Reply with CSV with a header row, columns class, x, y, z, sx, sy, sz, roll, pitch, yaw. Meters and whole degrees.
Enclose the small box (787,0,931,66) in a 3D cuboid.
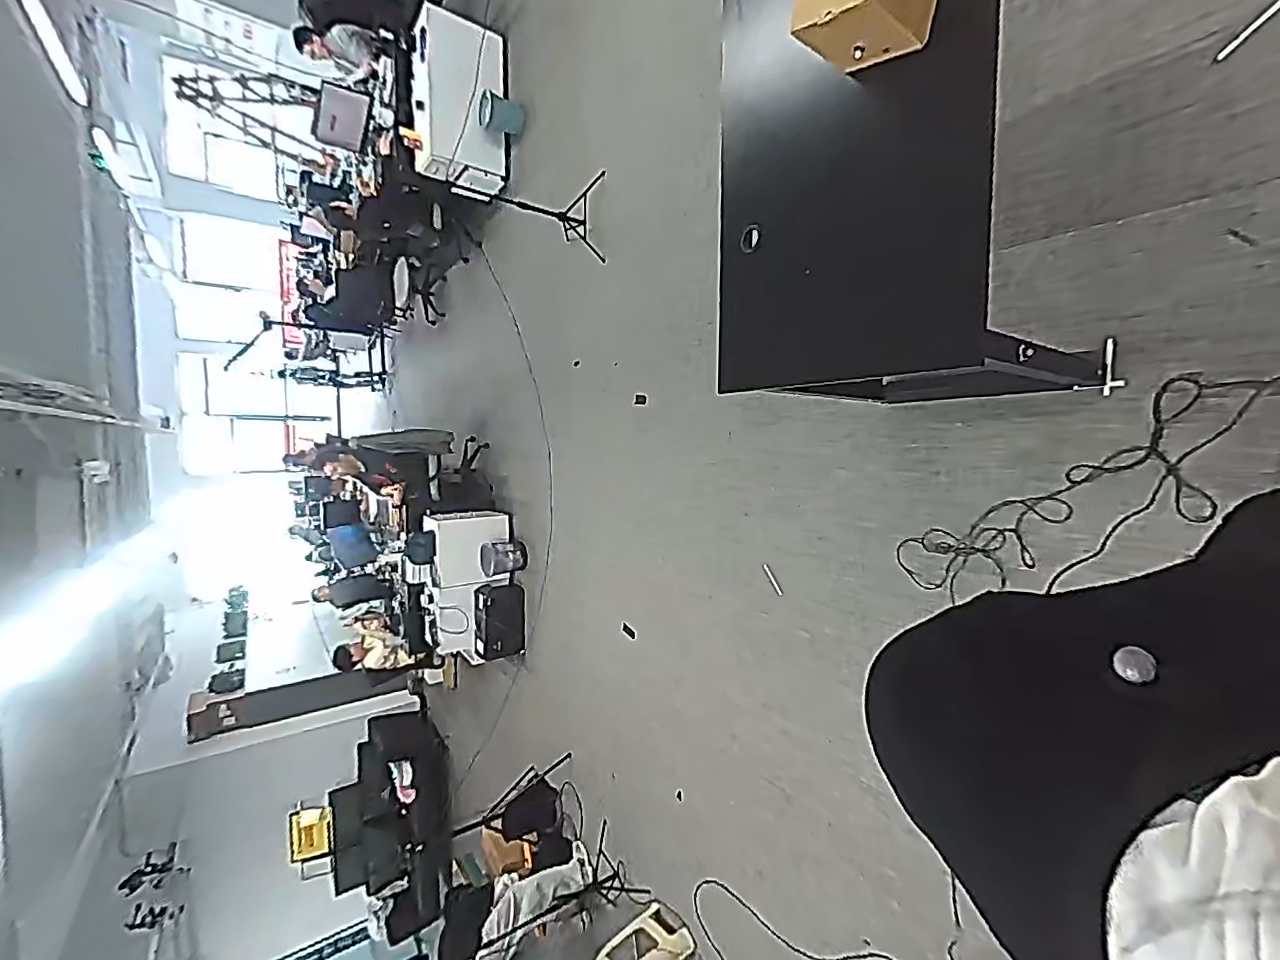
class,x,y,z,sx,sy,sz,roll,pitch,yaw
small box,0.380,-0.846,0.908,0.168,0.176,0.179,28,116,51
